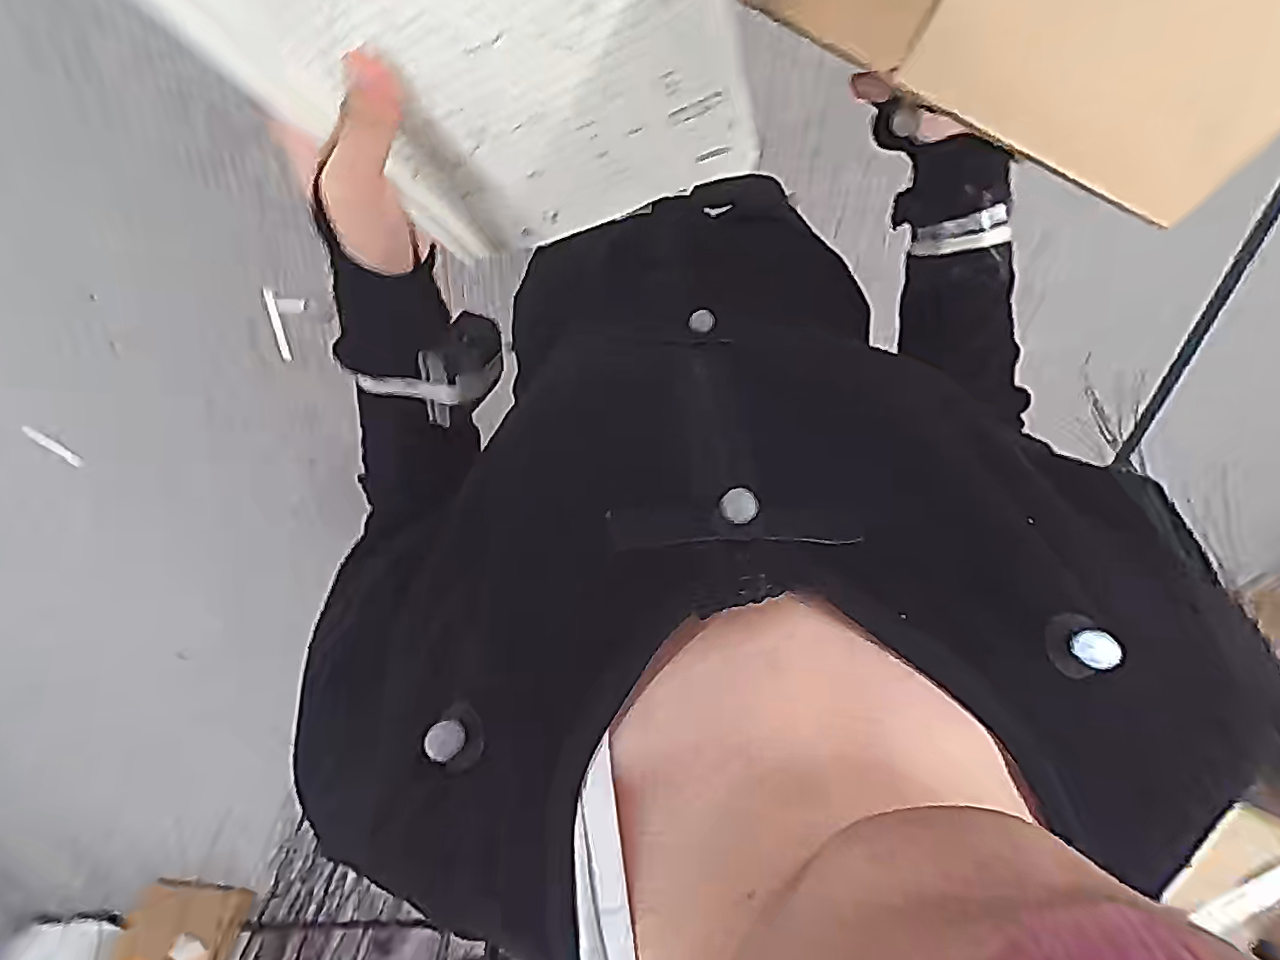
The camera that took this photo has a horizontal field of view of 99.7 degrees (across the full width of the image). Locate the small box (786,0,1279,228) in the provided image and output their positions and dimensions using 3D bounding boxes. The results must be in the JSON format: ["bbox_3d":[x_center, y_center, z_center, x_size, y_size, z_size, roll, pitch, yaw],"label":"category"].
[{"bbox_3d":[0.172,-0.232,0.196,0.168,0.176,0.179,7,135,-23],"label":"small box"}]
